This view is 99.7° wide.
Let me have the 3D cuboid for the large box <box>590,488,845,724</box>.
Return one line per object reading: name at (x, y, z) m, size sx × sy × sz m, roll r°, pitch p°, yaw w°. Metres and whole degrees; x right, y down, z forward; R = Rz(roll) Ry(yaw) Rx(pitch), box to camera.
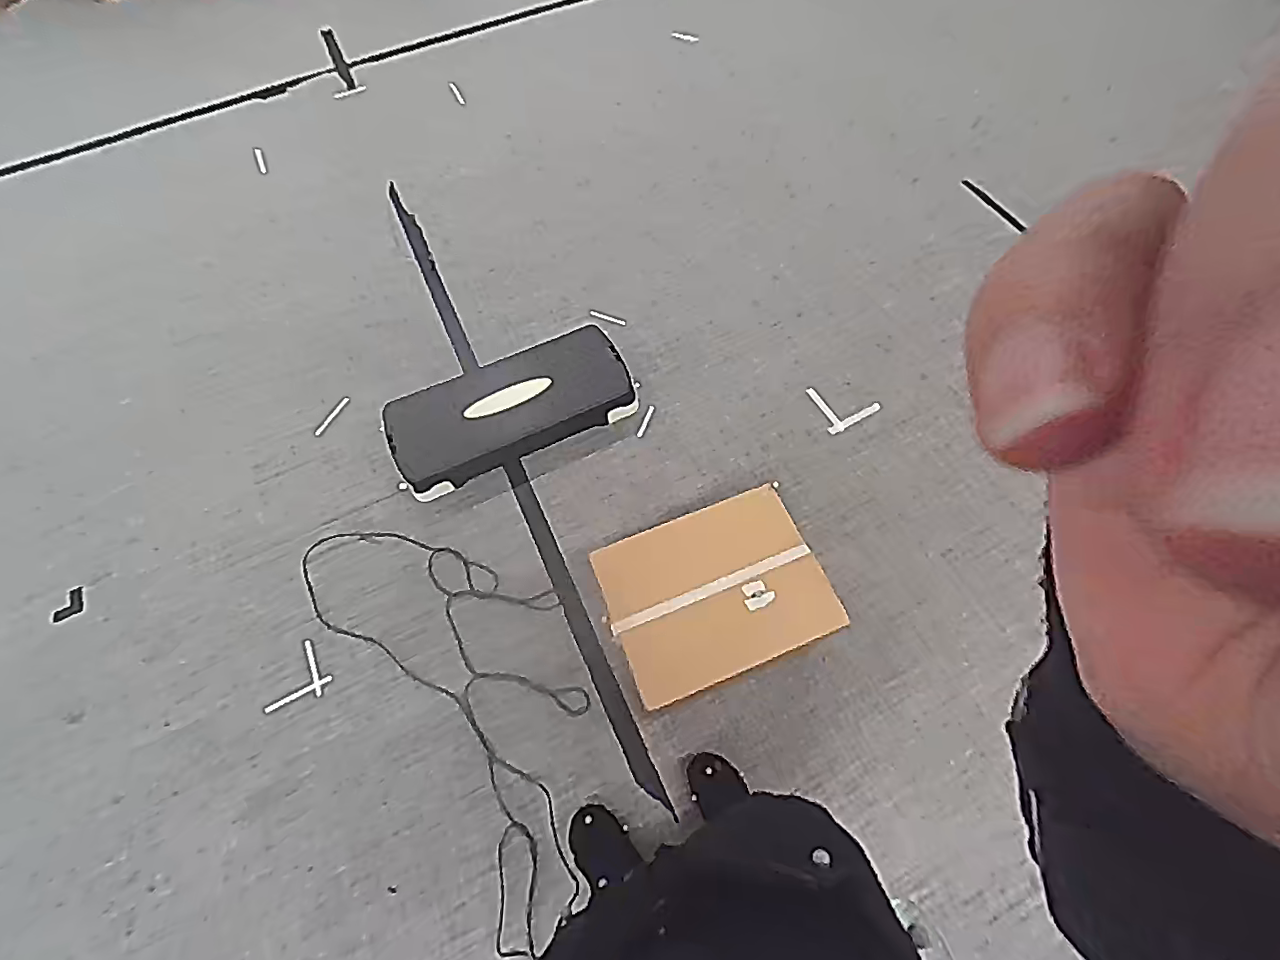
large box at (0.142, 0.279, 1.153) m, size 0.408 × 0.320 × 0.320 m, roll -21°, pitch 66°, yaw -9°
